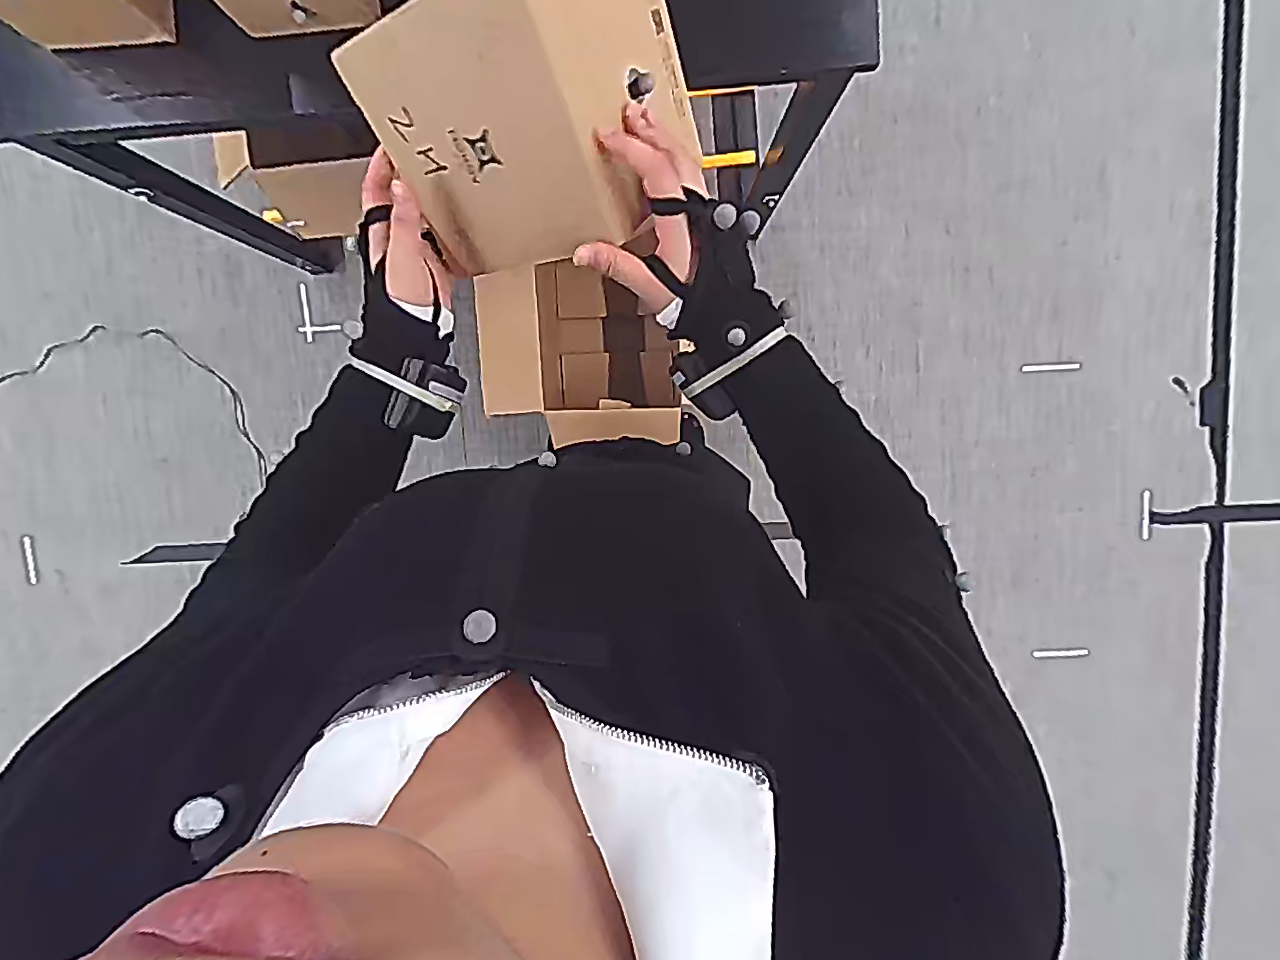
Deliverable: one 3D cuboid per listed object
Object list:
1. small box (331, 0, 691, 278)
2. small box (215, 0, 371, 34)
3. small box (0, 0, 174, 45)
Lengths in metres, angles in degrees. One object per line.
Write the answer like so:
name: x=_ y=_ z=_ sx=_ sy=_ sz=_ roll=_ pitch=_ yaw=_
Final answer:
small box: x=-0.077 y=-0.279 z=0.412 sx=0.179 sy=0.176 sz=0.168 roll=7 pitch=138 yaw=34
small box: x=-0.423 y=-0.648 z=0.605 sx=0.179 sy=0.176 sz=0.168 roll=-6 pitch=96 yaw=0
small box: x=-0.686 y=-0.631 z=0.608 sx=0.179 sy=0.176 sz=0.168 roll=-2 pitch=96 yaw=0
